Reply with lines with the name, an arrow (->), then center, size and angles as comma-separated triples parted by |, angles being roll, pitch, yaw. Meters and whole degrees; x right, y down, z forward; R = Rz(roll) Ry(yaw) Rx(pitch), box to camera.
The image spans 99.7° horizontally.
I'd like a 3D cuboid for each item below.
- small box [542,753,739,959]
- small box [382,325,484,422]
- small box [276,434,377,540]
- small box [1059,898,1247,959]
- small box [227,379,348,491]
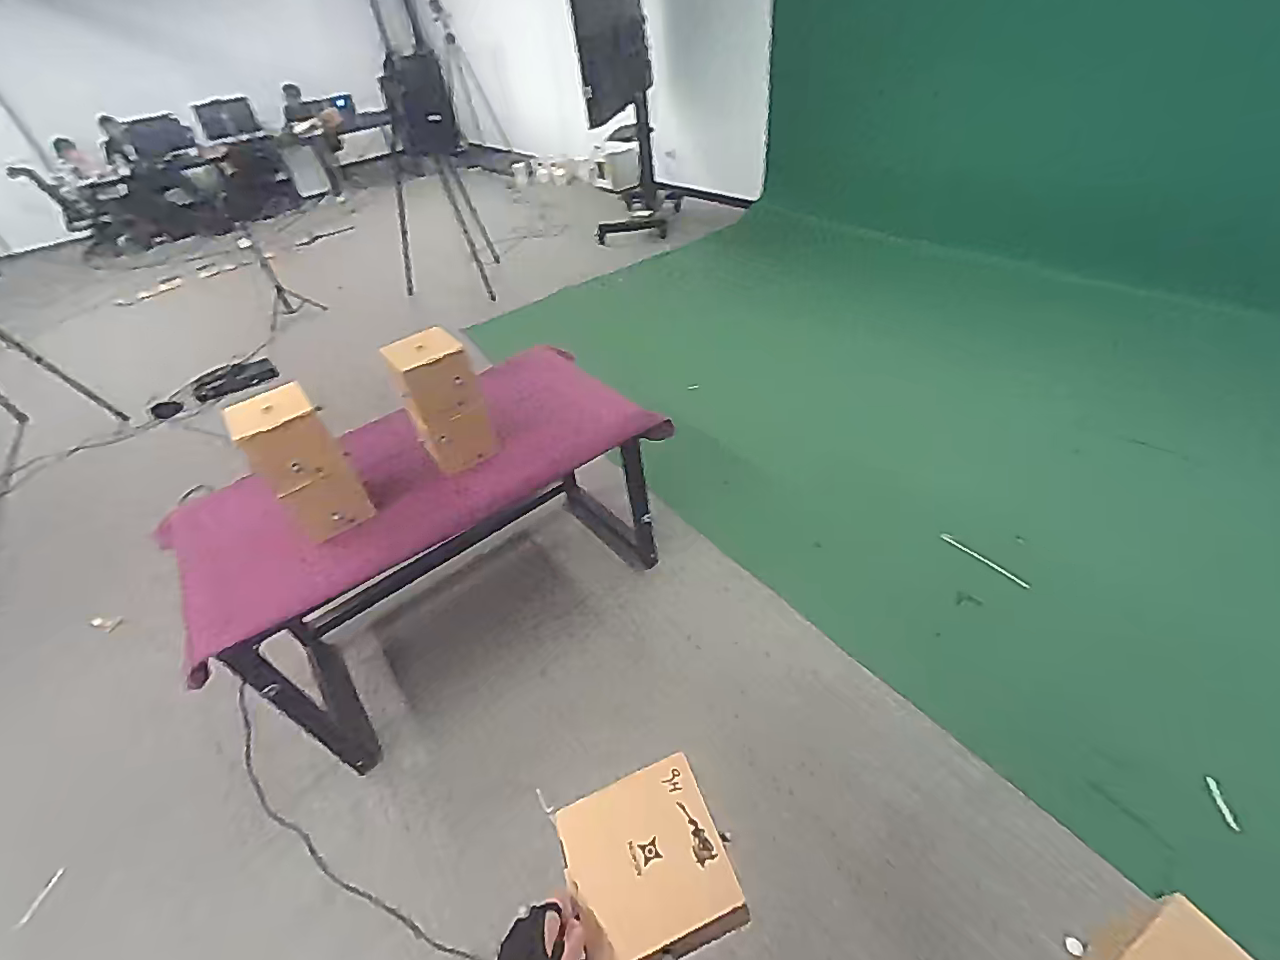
small box -> 0.005, 0.472, 0.653 | 0.179, 0.176, 0.168 | -23, 46, -7
small box -> -0.528, -0.271, 1.394 | 0.168, 0.176, 0.179 | -30, 45, -23
small box -> -0.795, 0.018, 1.361 | 0.168, 0.176, 0.179 | -30, 46, -22
small box -> 0.508, 0.546, 0.506 | 0.168, 0.176, 0.179 | -26, 45, -17
small box -> -0.814, -0.103, 1.255 | 0.168, 0.176, 0.179 | -31, 47, -24
